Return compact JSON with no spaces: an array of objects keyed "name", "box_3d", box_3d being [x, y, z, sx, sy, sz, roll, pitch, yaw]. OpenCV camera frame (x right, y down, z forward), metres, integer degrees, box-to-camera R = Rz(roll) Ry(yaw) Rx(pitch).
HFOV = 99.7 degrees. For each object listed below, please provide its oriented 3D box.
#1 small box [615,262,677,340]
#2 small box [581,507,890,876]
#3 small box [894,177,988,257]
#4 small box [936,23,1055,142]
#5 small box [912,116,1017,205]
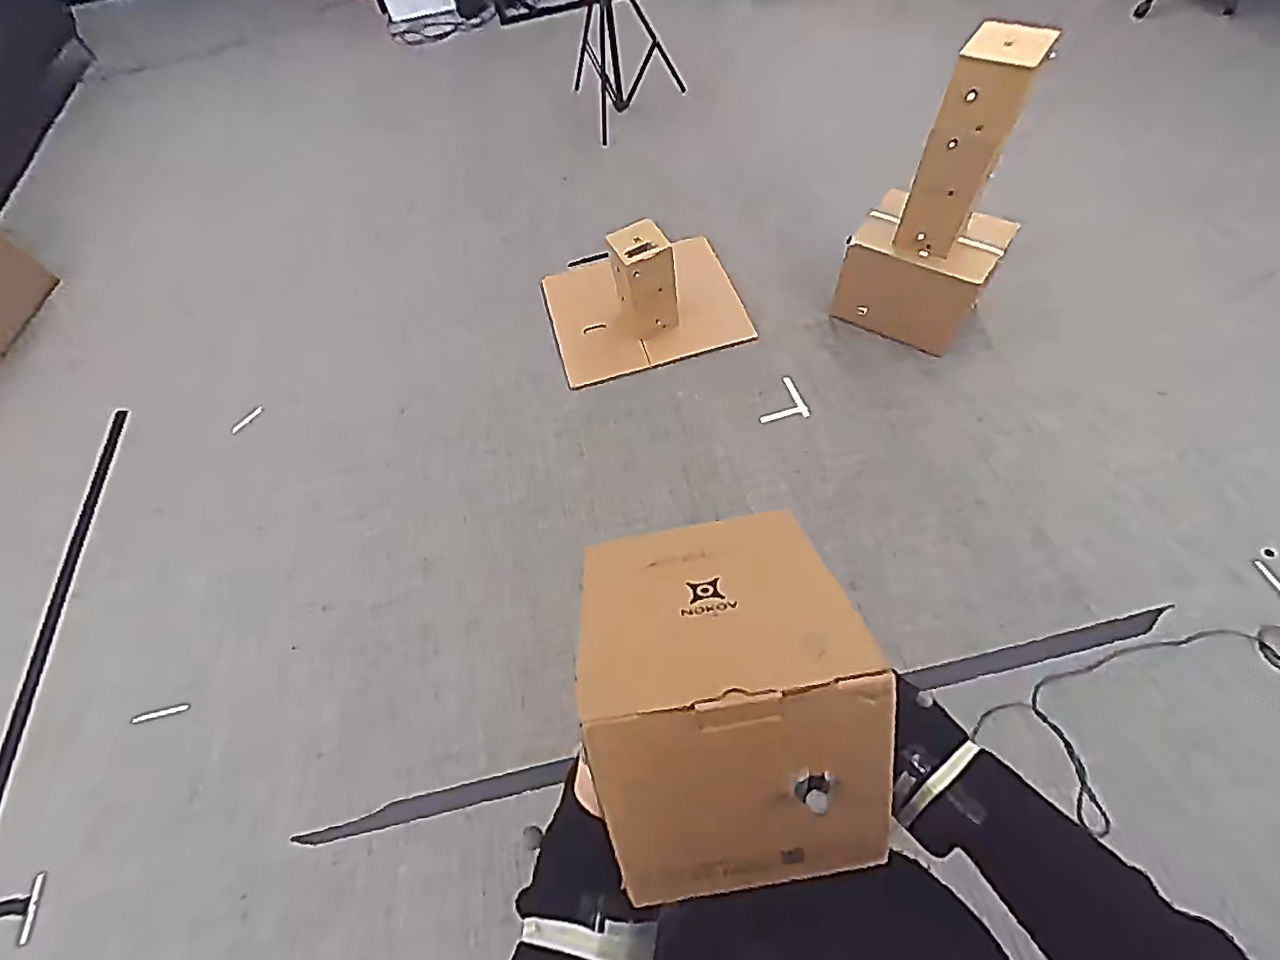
[{"name":"small box","box_3d":[0.024,-0.643,1.952,0.168,0.176,0.179,-24,61,-4]},{"name":"small box","box_3d":[0.057,0.143,0.384,0.168,0.176,0.179,-9,25,0]},{"name":"small box","box_3d":[0.875,-0.794,1.586,0.168,0.176,0.179,30,68,21]},{"name":"small box","box_3d":[0.843,-0.954,1.303,0.168,0.176,0.179,29,68,21]},{"name":"small box","box_3d":[0.859,-0.877,1.446,0.168,0.176,0.179,30,67,22]}]
